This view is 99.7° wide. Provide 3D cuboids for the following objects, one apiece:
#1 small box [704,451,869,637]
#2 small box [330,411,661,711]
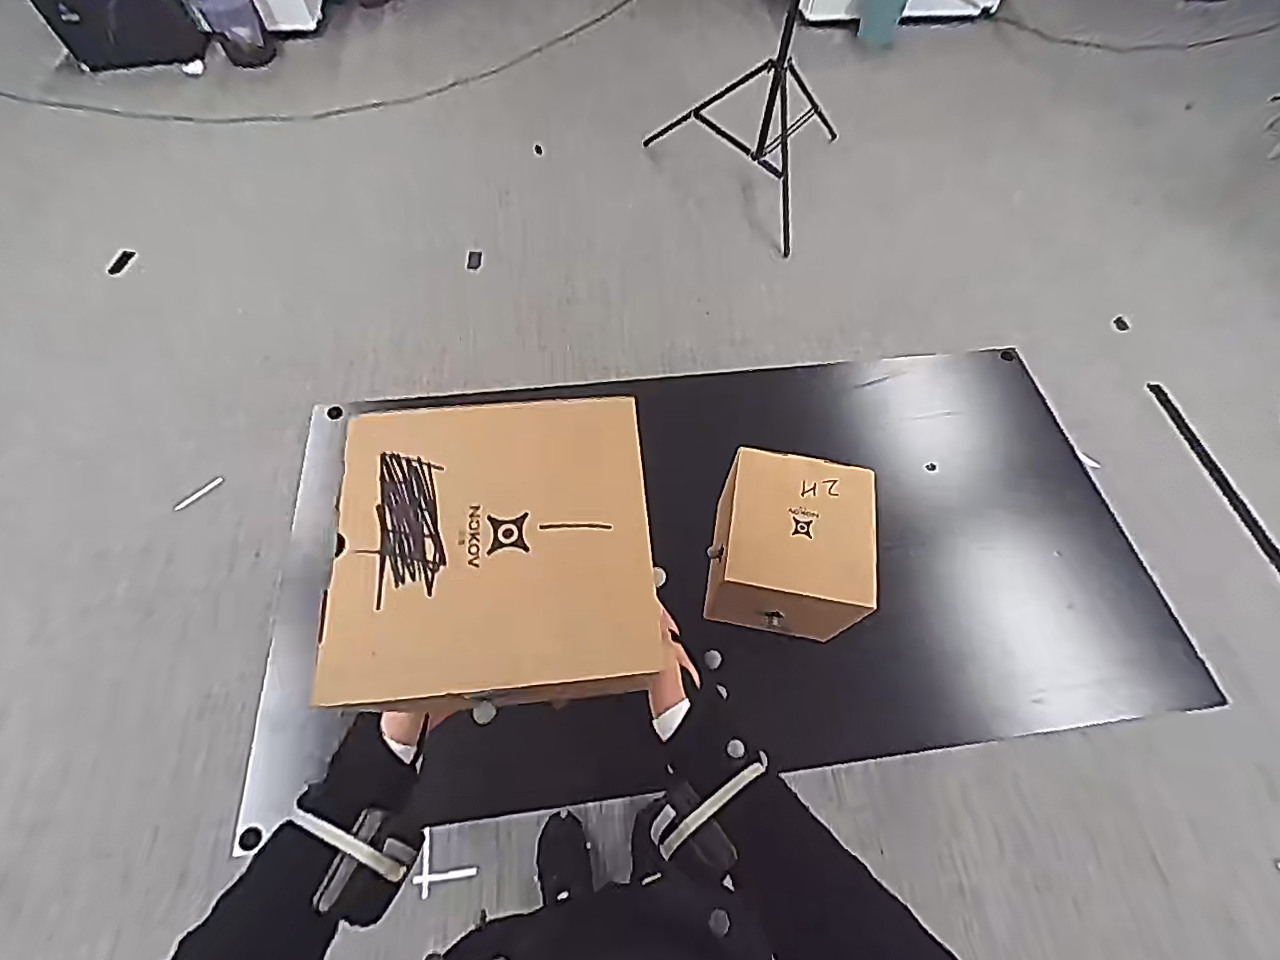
[{"bbox_3d":[0.181,0.091,0.699,0.168,0.176,0.179,11,61,3],"label":"small box"},{"bbox_3d":[-0.083,0.068,0.387,0.179,0.176,0.168,-4,66,-4],"label":"small box"}]
